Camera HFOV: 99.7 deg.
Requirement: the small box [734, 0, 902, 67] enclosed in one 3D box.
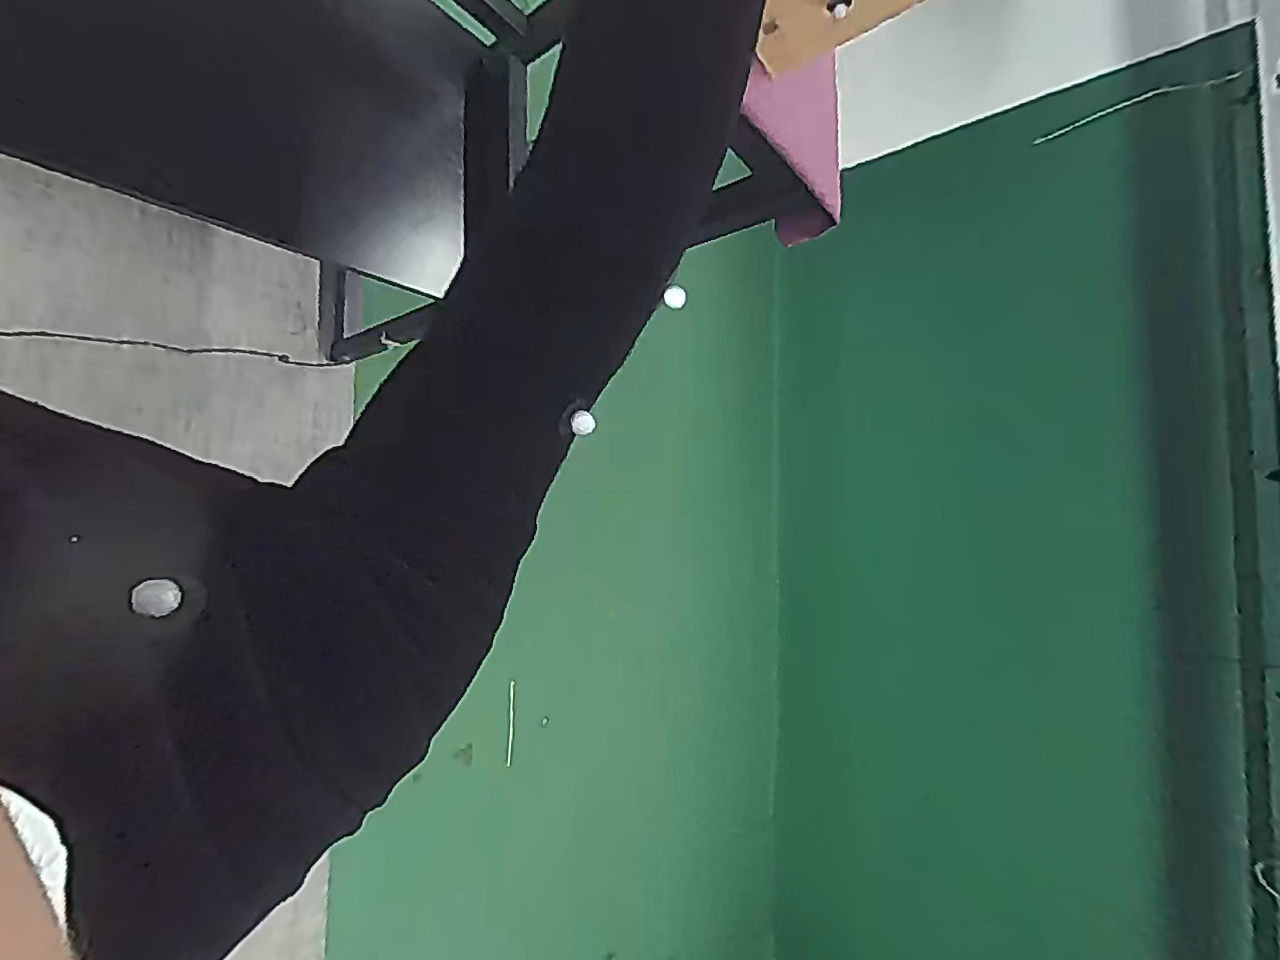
[{"bbox_3d":[0.164,-0.529,0.479,0.168,0.176,0.179,11,80,-52],"label":"small box"}]
